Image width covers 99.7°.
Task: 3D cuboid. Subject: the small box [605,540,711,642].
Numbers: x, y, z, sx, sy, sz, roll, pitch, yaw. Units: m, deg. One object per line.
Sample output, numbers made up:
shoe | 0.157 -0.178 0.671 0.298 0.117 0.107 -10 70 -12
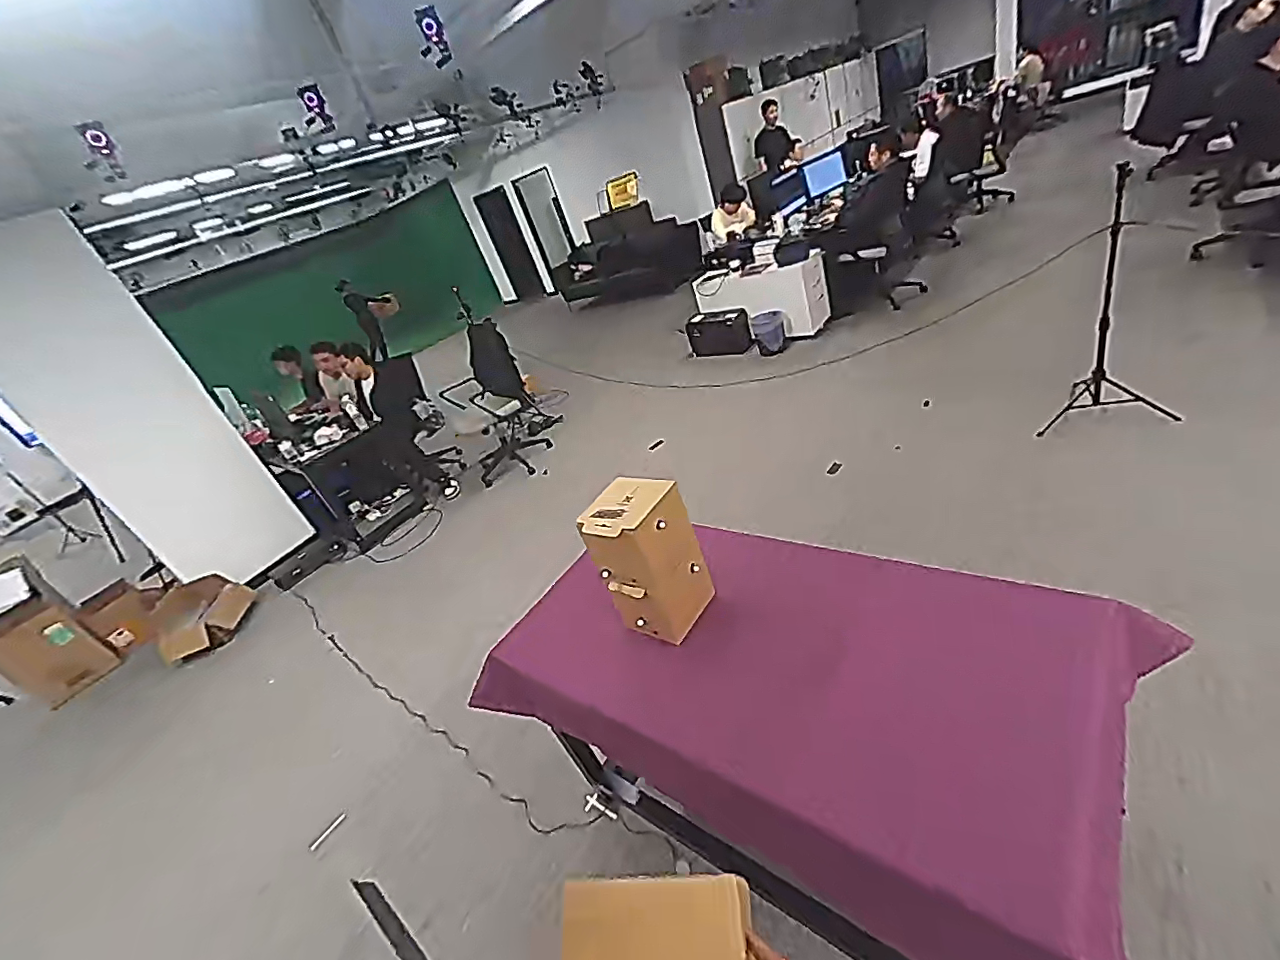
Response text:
small box | 0.051 0.247 1.282 0.168 0.176 0.179 7 40 41

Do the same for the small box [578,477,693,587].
small box | -0.002 0.113 1.203 0.168 0.176 0.179 4 37 37
